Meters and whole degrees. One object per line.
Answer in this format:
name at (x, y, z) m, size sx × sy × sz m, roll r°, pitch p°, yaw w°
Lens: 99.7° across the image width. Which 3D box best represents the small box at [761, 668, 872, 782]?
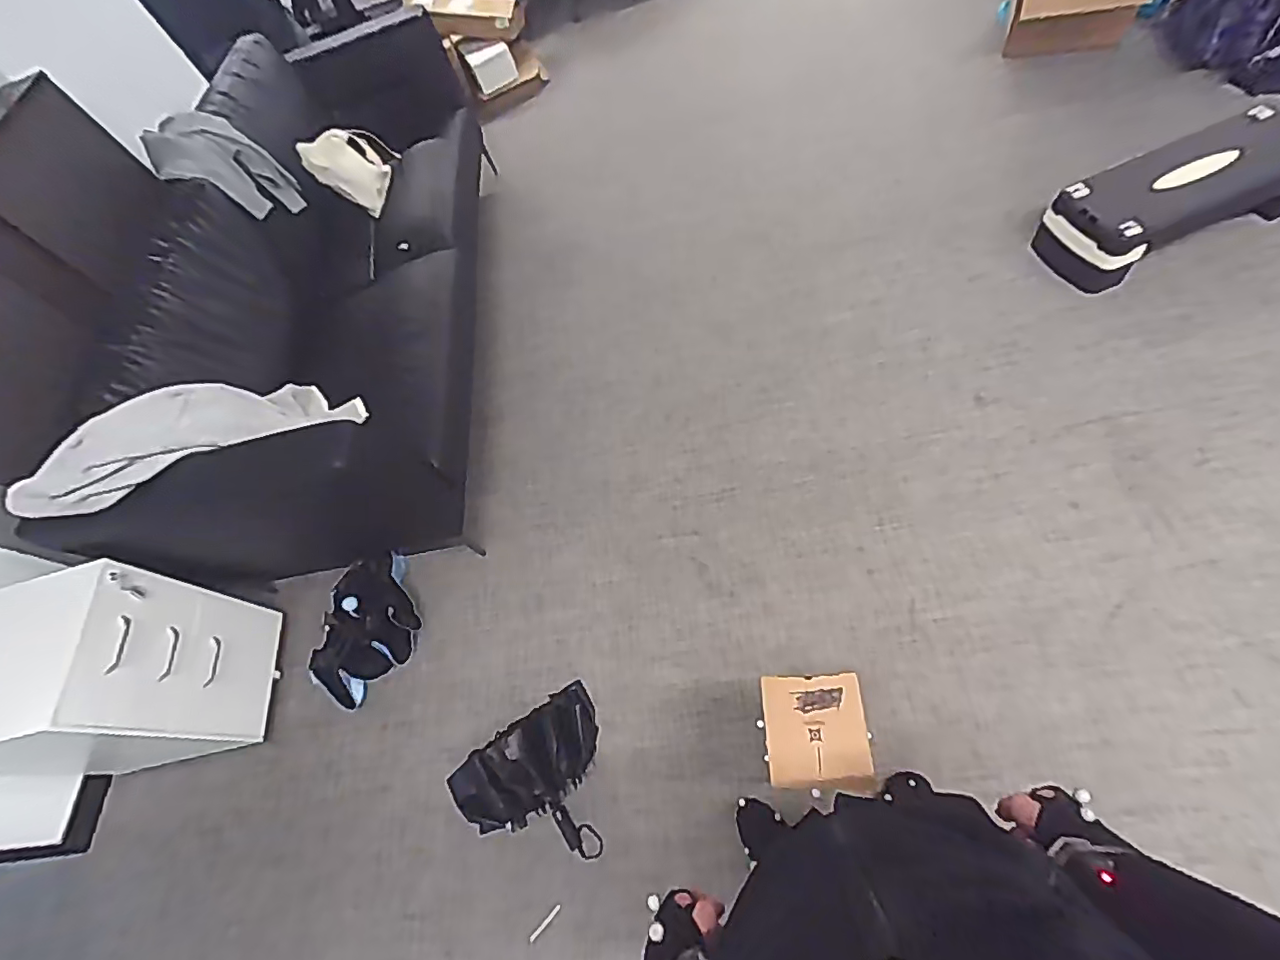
small box at (0.309, 0.447, 0.983) m, size 0.168 × 0.176 × 0.179 m, roll -6°, pitch 63°, yaw 12°
